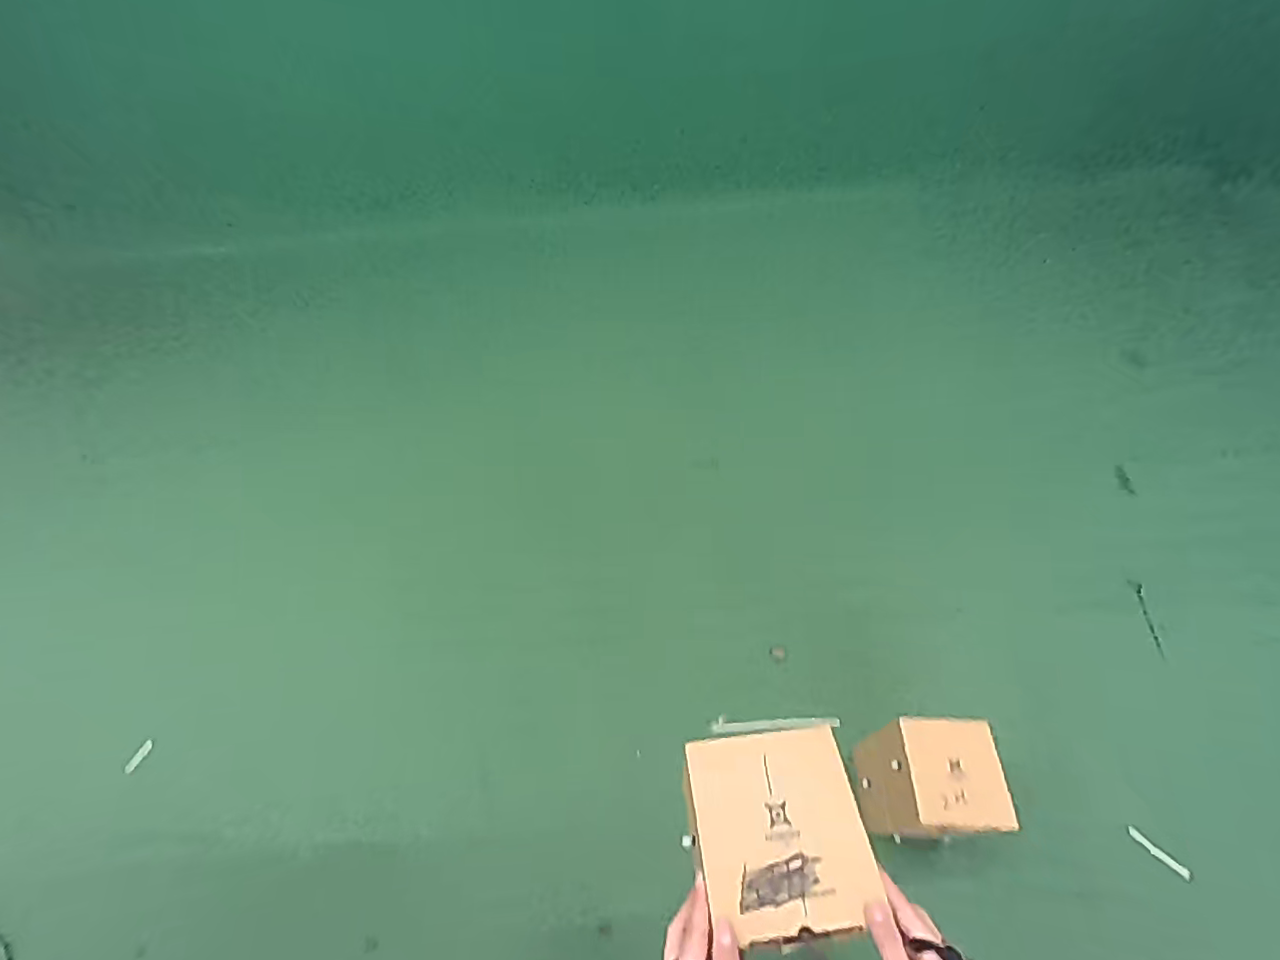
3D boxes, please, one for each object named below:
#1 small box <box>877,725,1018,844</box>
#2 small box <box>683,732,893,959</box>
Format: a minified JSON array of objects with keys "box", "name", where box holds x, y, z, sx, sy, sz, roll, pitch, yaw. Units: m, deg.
[{"box":[0.575,0.589,1.043,0.168,0.176,0.179,1,55,4],"name":"small box"},{"box":[0.141,0.400,0.585,0.168,0.176,0.179,-6,45,-2],"name":"small box"}]
